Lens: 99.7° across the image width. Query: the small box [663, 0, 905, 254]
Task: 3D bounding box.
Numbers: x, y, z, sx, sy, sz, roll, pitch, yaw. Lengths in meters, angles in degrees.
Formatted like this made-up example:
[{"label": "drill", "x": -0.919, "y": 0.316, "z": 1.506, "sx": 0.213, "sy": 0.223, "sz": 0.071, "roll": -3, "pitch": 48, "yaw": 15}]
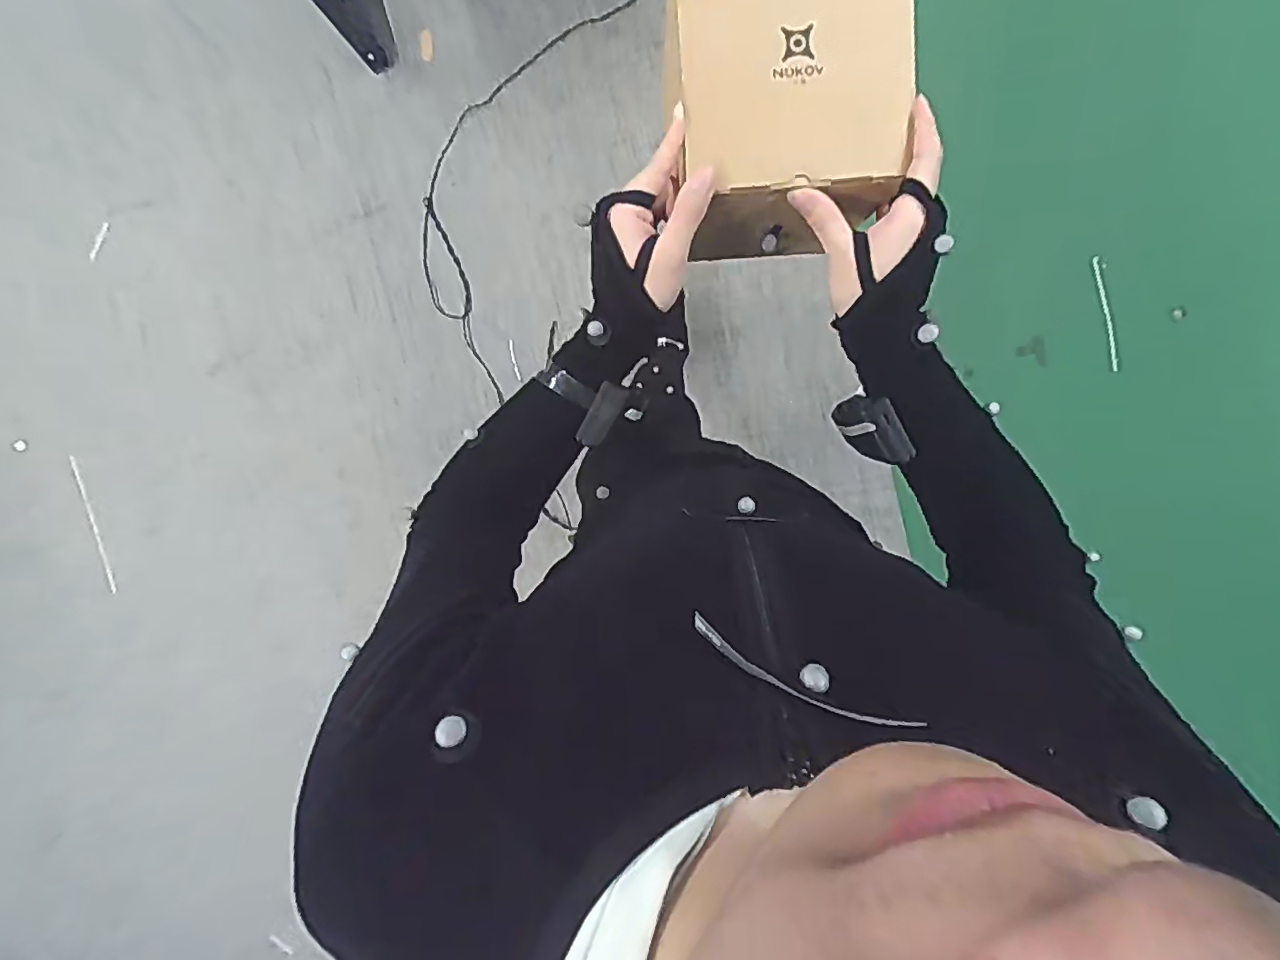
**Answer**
[{"label": "small box", "x": 0.107, "y": -0.305, "z": 0.466, "sx": 0.168, "sy": 0.176, "sz": 0.179, "roll": -4, "pitch": 97, "yaw": 1}]
